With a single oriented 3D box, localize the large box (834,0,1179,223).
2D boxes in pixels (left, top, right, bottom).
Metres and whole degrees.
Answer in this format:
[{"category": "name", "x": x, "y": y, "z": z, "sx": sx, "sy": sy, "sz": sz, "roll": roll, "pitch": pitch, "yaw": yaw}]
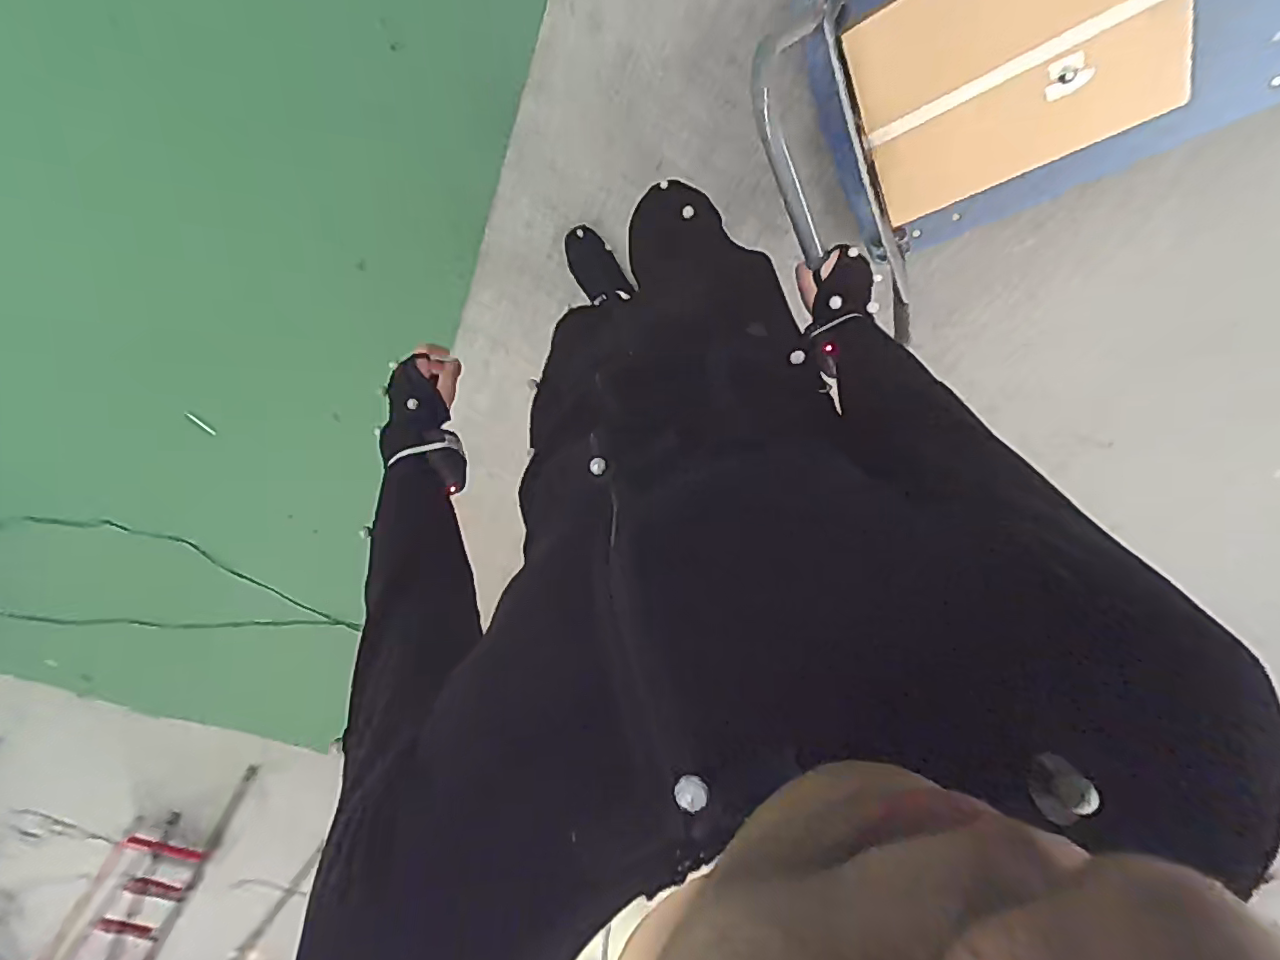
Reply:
[{"category": "large box", "x": 0.583, "y": -0.716, "z": 0.926, "sx": 0.408, "sy": 0.320, "sz": 0.320, "roll": -16, "pitch": 123, "yaw": 29}]
